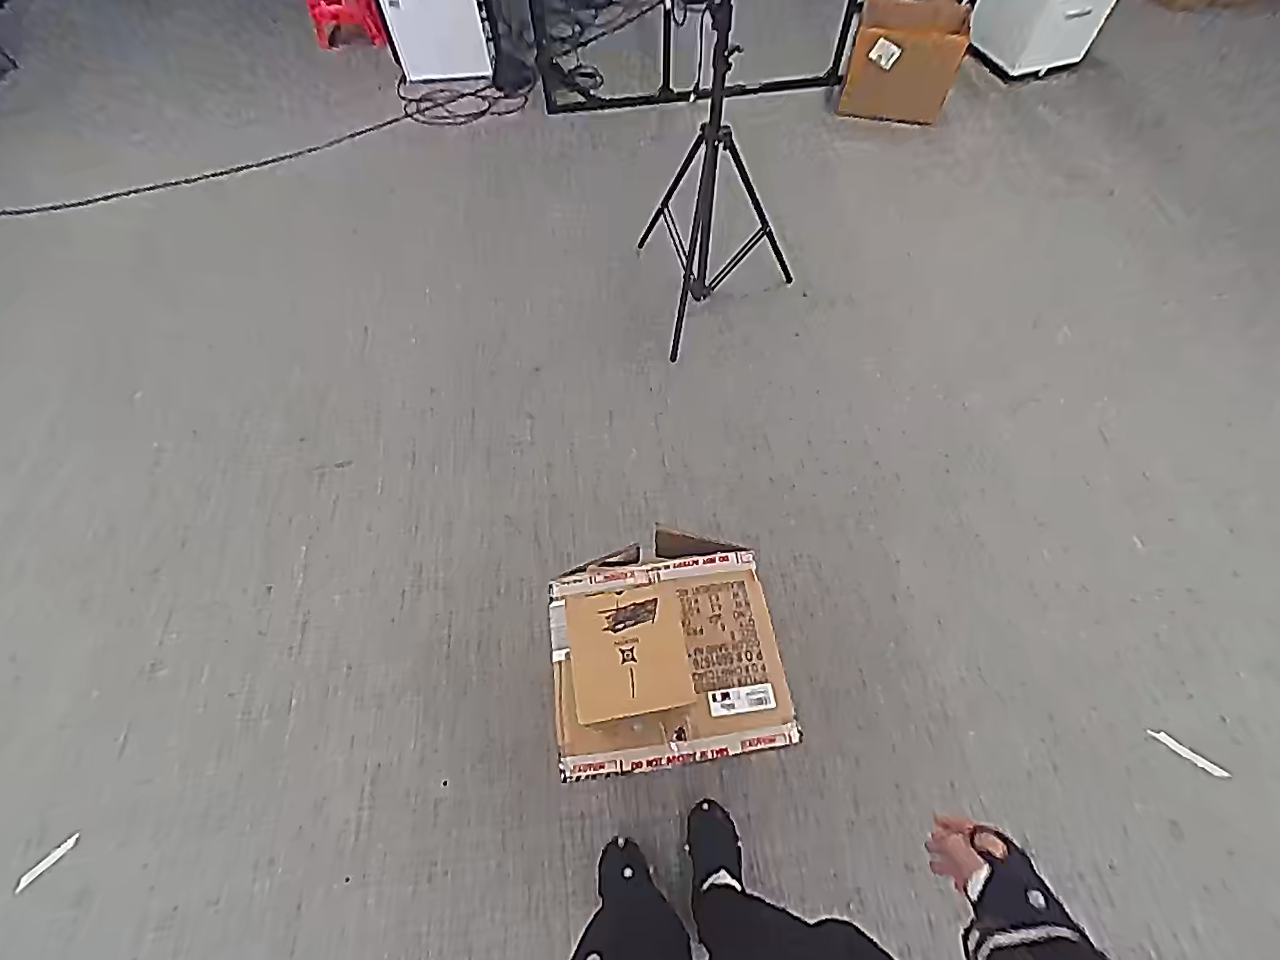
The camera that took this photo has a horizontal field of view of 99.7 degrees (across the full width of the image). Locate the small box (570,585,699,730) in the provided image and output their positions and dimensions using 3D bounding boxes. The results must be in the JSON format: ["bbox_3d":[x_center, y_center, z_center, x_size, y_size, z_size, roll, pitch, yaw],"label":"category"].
[{"bbox_3d":[-0.010,0.280,0.840,0.168,0.176,0.179,-10,65,-2],"label":"small box"}]
